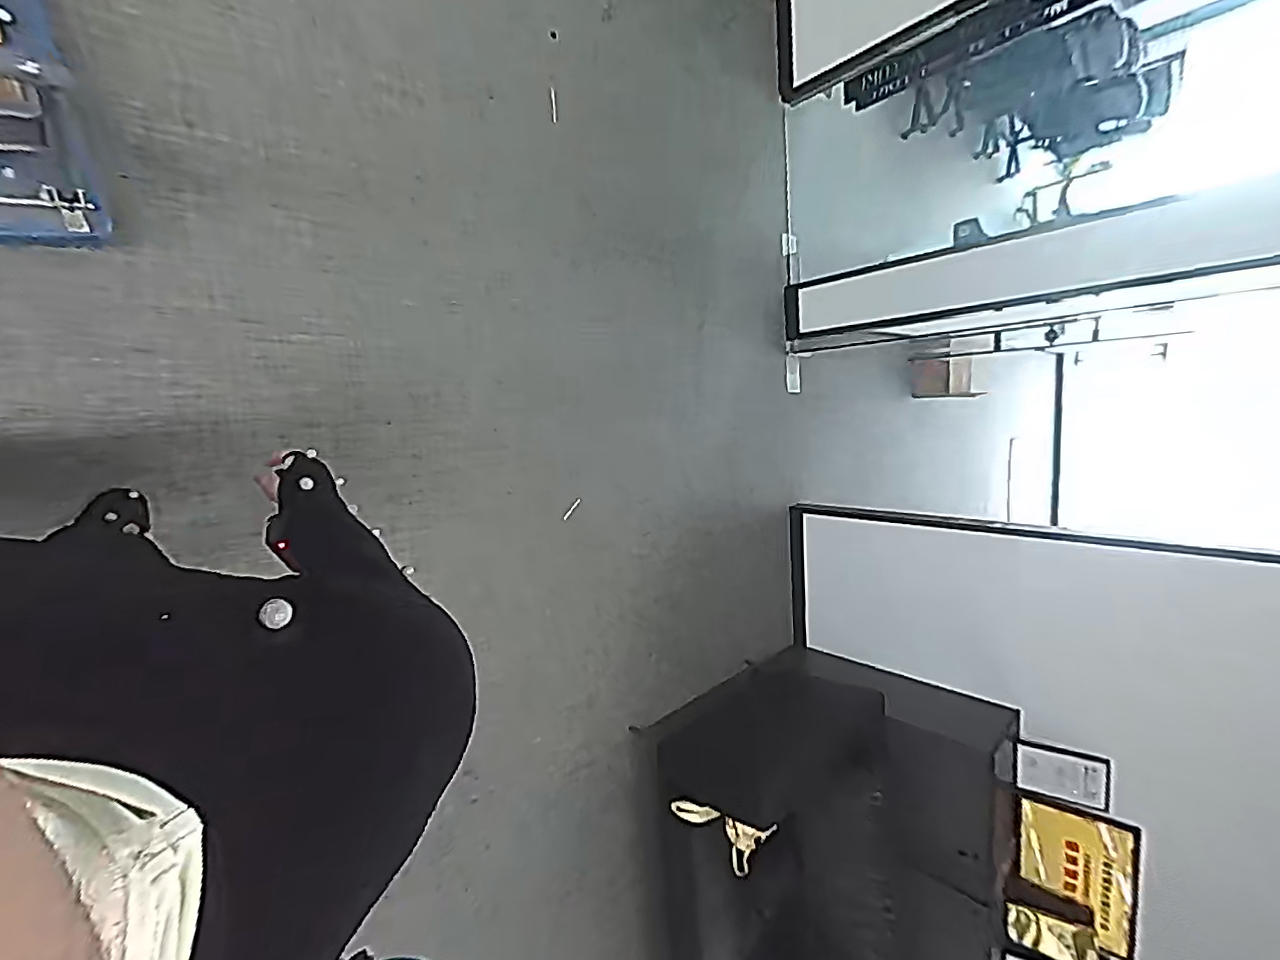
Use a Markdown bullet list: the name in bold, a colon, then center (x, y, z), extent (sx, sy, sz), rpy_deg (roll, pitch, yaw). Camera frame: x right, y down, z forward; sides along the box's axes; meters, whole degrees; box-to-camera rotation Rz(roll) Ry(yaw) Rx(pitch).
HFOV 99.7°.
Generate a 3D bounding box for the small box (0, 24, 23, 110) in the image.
- **small box**: center (-1.094, -0.709, 0.823), extent (0.168, 0.176, 0.179), rpy_deg (-18, 106, -41)
